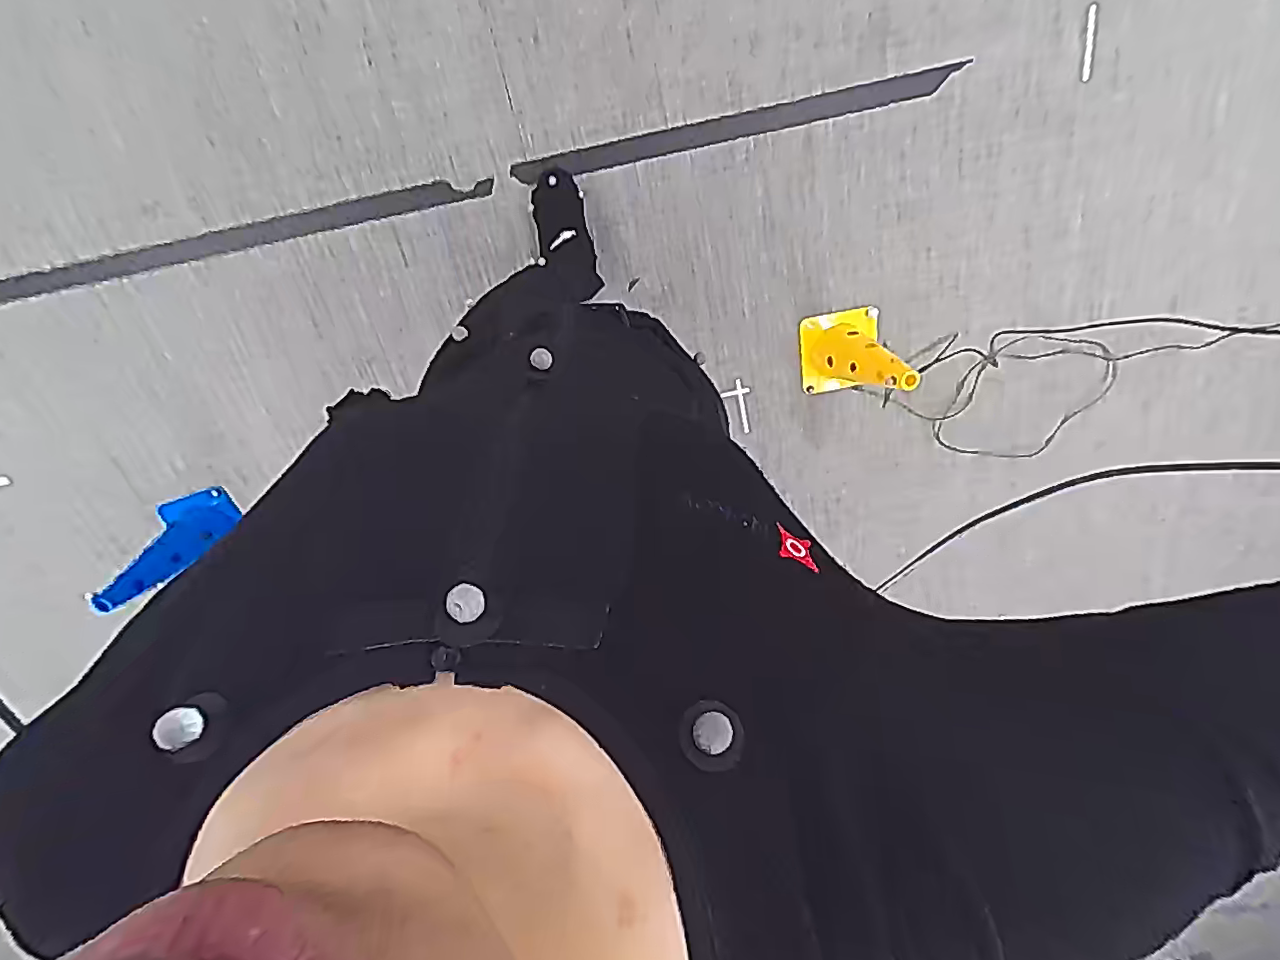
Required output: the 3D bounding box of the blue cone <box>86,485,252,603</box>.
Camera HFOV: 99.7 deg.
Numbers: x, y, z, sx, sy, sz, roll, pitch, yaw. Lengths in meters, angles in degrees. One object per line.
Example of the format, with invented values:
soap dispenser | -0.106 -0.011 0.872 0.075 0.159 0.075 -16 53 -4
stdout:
blue cone | -1.170 0.183 1.323 0.193 0.380 0.192 -17 113 4
